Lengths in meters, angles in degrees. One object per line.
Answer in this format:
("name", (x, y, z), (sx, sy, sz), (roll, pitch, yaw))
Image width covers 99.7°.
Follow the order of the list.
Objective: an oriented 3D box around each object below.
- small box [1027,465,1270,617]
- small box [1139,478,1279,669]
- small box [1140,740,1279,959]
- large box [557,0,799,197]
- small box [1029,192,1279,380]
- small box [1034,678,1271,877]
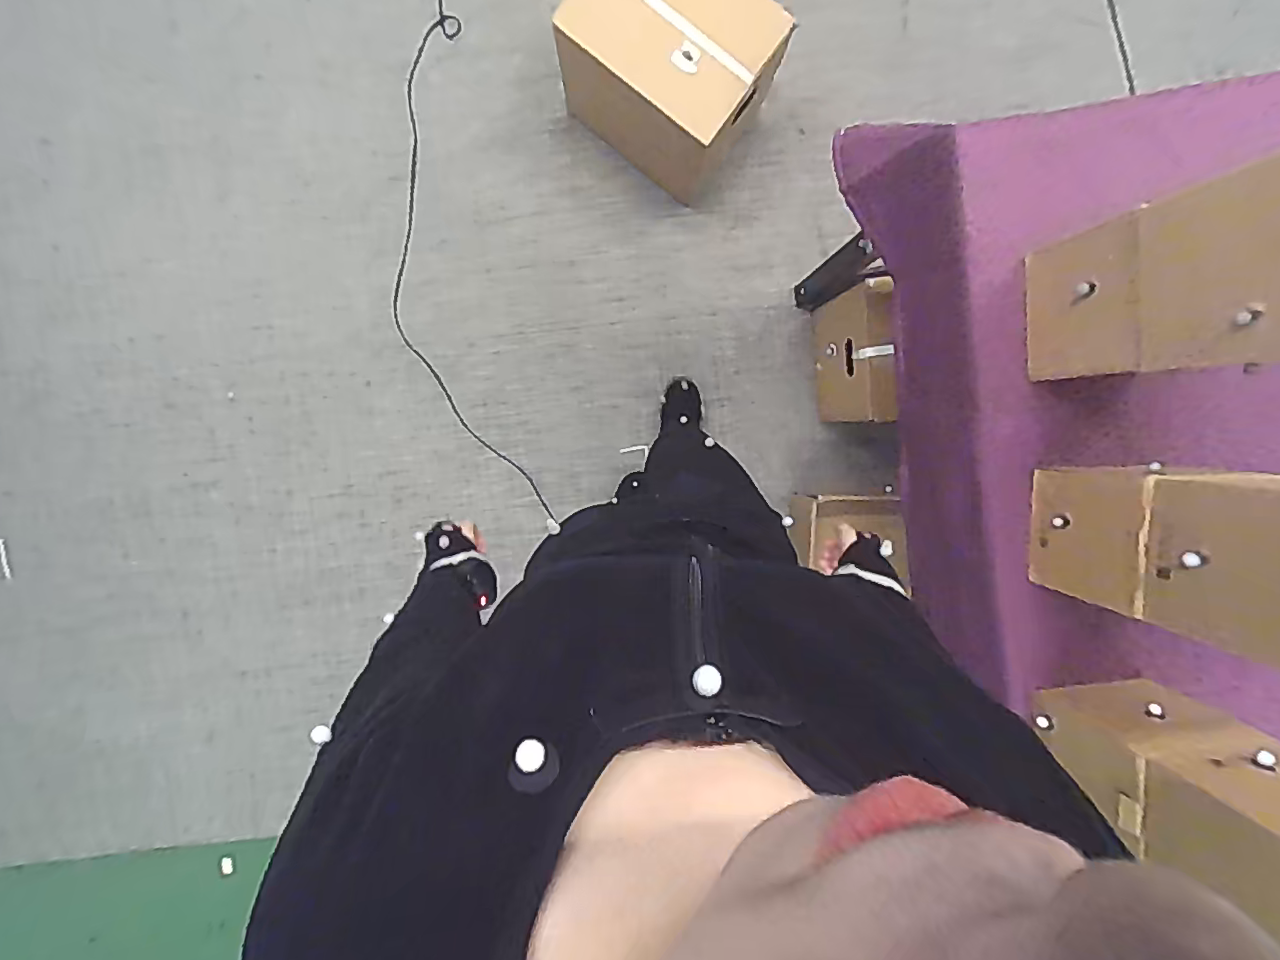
("small box", (0.652, 0.069, 0.701), (0.179, 0.176, 0.168), (-1, 96, -1))
("small box", (0.665, 0.086, 0.538), (0.179, 0.176, 0.168), (0, 95, -1))
("small box", (0.682, 0.408, 0.571), (0.168, 0.176, 0.179), (-4, 95, -3))
("large box", (0.070, -0.953, 1.239), (0.408, 0.320, 0.320), (36, 94, -6))
("small box", (0.618, -0.225, 0.668), (0.168, 0.176, 0.179), (-5, 95, -1))
("small box", (0.674, 0.387, 0.732), (0.179, 0.176, 0.168), (-6, 96, -2))
